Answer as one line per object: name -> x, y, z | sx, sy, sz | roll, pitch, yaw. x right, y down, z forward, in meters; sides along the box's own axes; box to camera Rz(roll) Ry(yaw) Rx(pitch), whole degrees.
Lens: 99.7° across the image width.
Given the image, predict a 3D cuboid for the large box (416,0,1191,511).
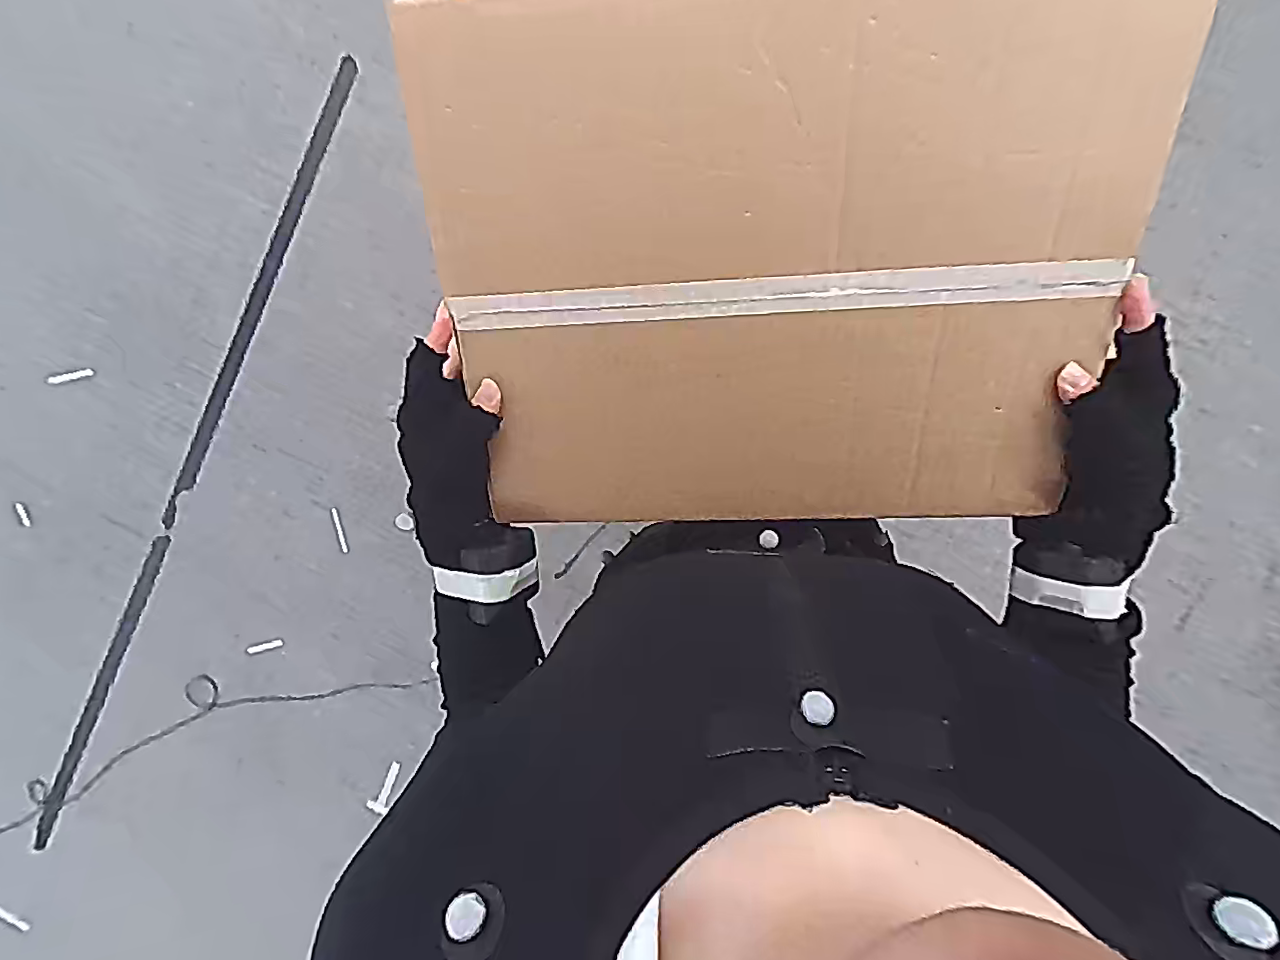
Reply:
large box -> 0.090, -0.182, 0.472 | 0.408, 0.320, 0.320 | -1, 117, 4
